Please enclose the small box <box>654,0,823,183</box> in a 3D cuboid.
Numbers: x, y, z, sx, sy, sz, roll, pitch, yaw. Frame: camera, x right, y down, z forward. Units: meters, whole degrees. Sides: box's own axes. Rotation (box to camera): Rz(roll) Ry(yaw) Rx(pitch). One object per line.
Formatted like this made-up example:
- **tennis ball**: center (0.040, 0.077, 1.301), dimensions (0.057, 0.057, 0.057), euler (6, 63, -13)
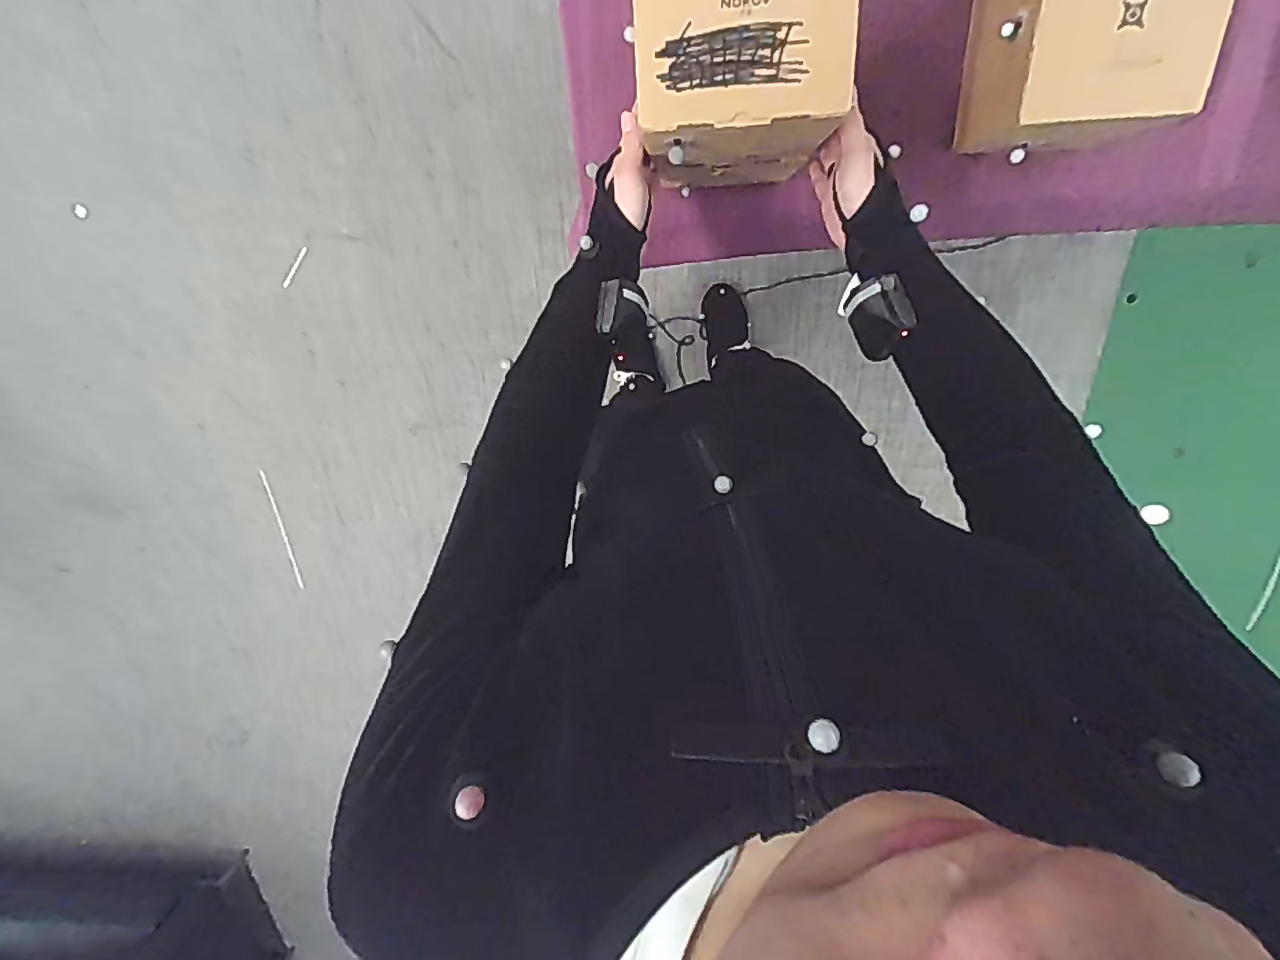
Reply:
- **small box**: center (0.105, -0.446, 0.616), dimensions (0.168, 0.176, 0.179), euler (-1, 111, 5)
